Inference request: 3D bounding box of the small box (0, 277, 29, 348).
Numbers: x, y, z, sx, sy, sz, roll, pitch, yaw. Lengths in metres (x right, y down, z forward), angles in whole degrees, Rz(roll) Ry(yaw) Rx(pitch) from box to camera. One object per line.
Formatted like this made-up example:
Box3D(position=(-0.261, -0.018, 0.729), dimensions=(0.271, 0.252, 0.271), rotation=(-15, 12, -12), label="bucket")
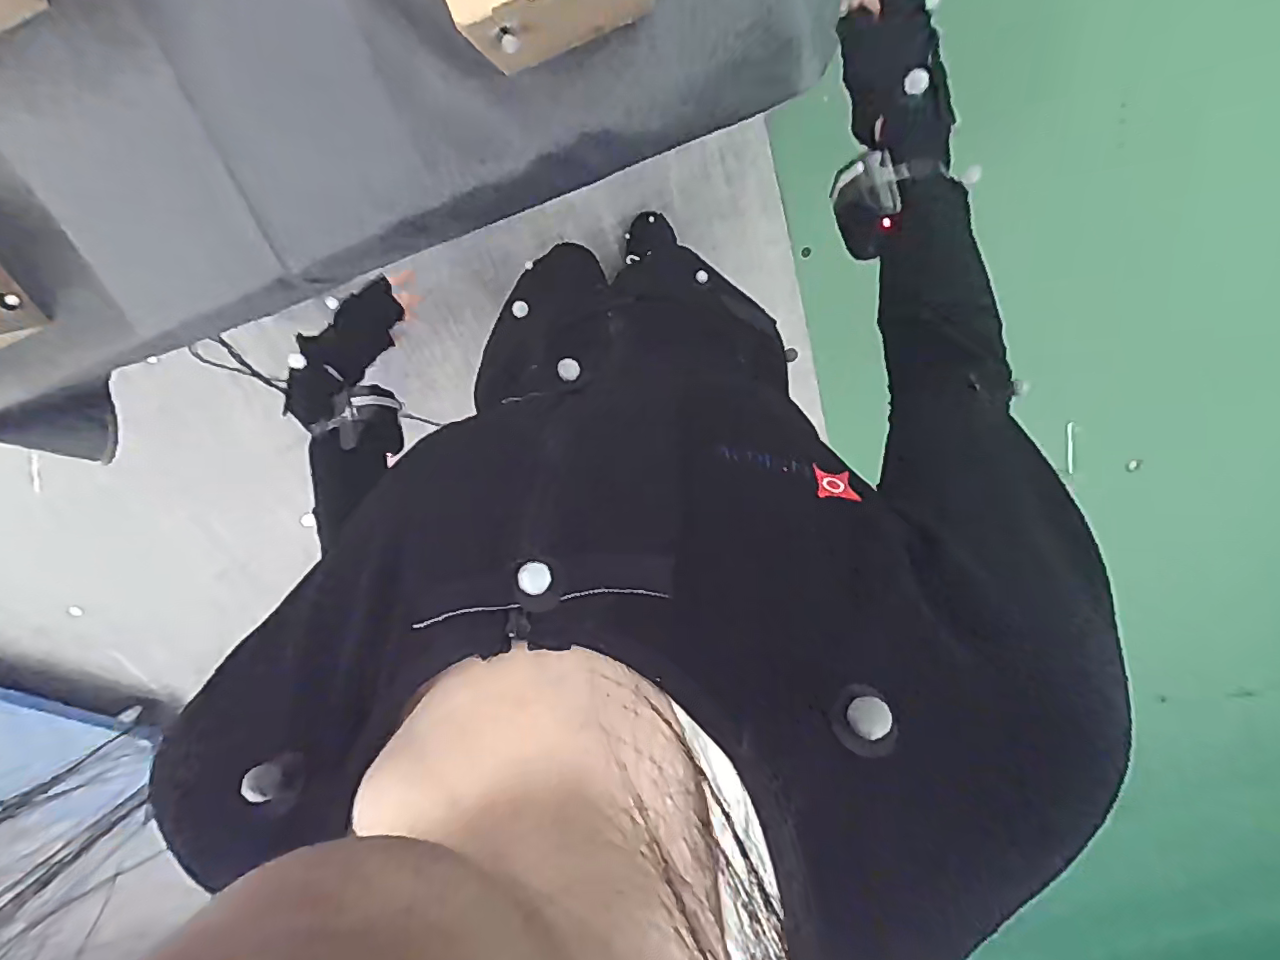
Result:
Box3D(position=(-0.842, -0.198, 0.579), dimensions=(0.179, 0.176, 0.168), rotation=(-19, 115, 9), label="small box")
